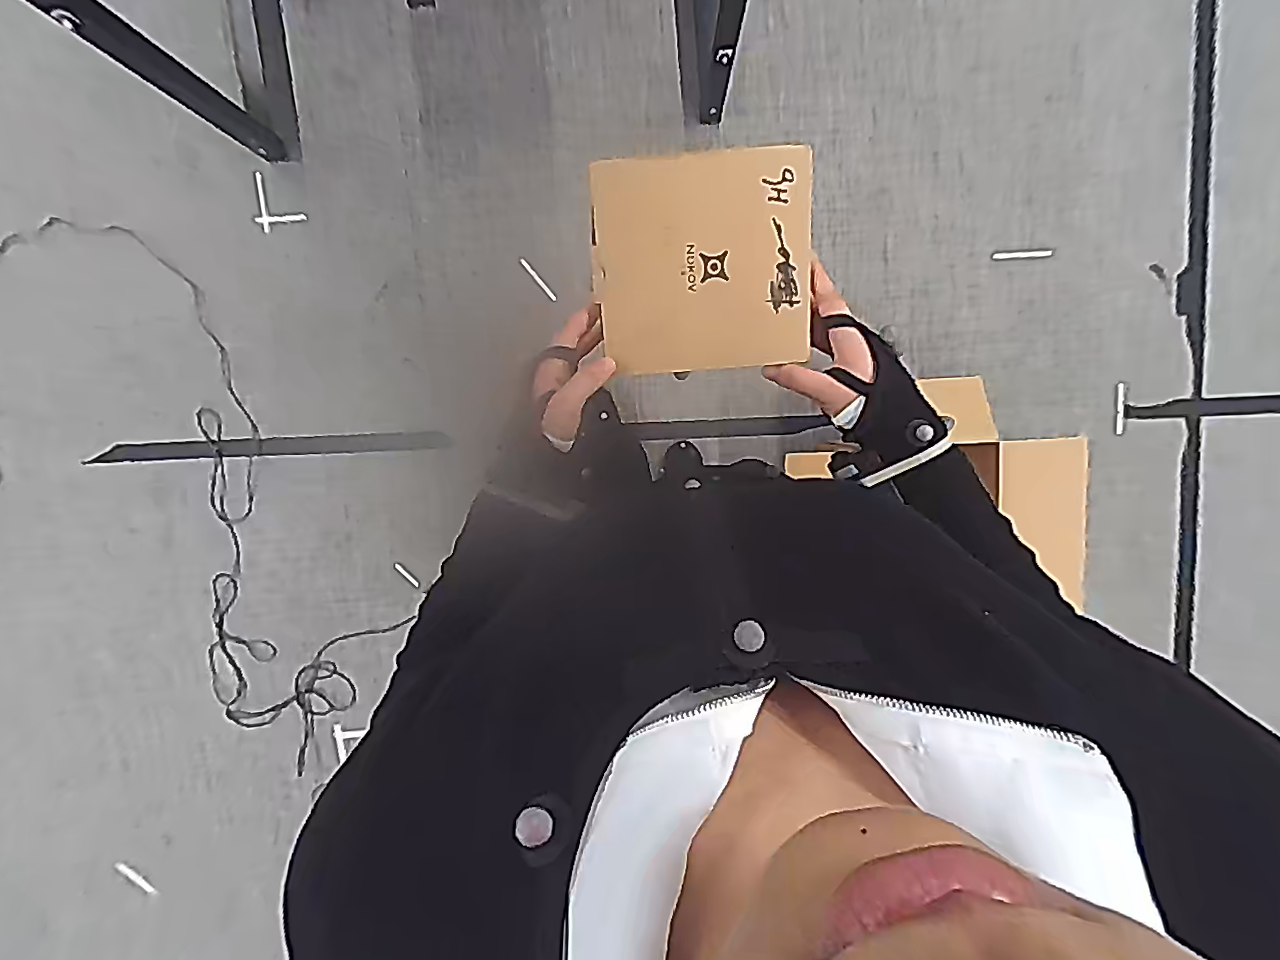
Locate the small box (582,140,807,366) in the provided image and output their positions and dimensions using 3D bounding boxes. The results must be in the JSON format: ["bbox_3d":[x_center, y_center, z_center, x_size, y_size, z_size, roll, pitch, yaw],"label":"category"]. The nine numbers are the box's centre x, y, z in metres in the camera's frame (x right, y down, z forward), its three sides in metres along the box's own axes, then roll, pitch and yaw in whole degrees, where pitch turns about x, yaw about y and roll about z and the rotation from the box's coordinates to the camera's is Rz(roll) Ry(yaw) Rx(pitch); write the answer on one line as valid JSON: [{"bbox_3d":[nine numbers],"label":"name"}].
[{"bbox_3d":[0.047,-0.197,0.512,0.179,0.176,0.168,-4,105,1],"label":"small box"}]
